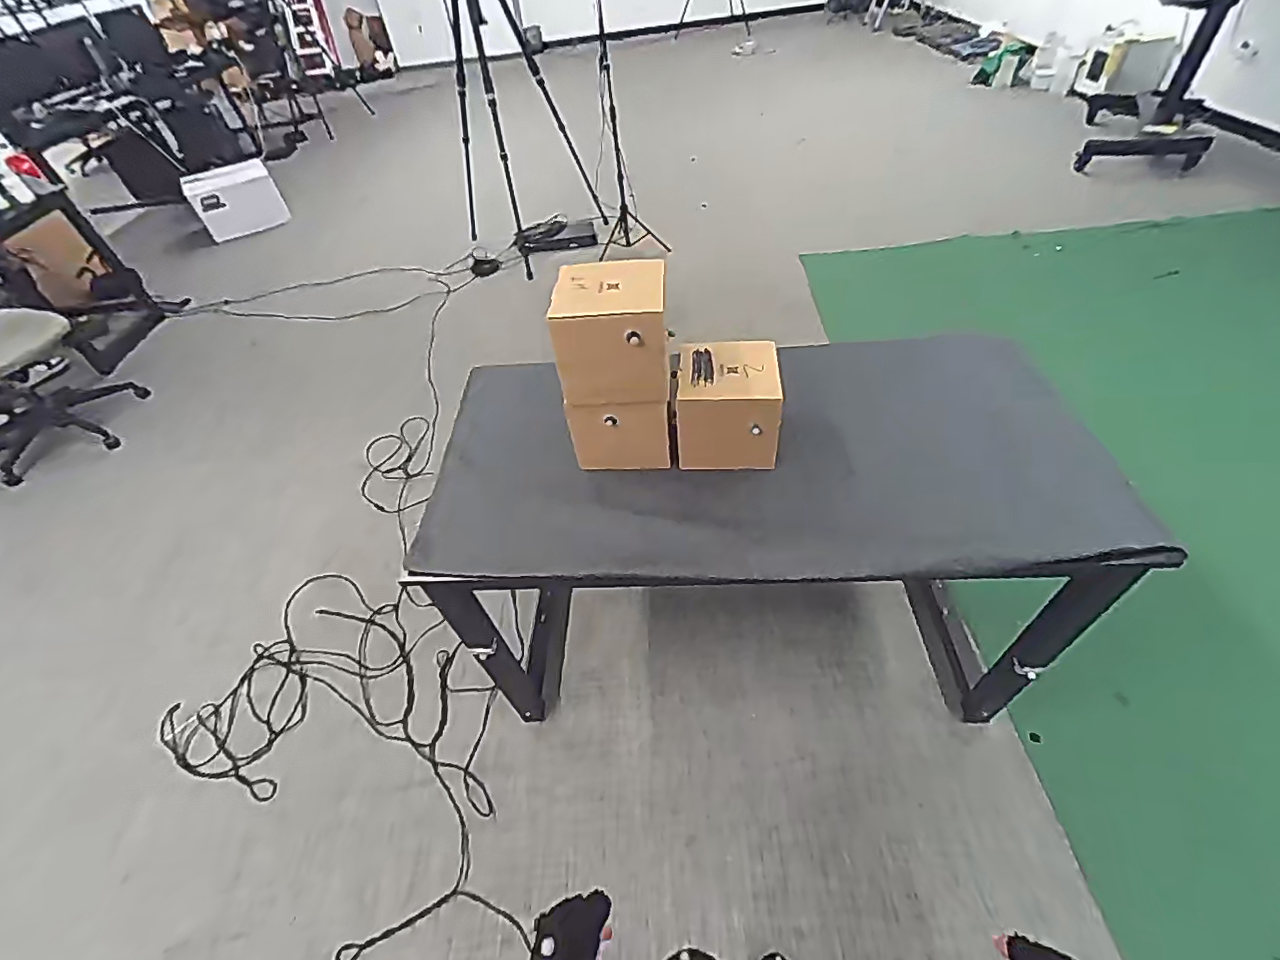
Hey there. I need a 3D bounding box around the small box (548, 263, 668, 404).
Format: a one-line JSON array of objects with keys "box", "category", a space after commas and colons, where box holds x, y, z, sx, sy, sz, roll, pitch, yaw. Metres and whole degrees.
[{"box": [-0.042, -0.242, 0.906, 0.179, 0.176, 0.168, -1, 47, 5], "category": "small box"}]
